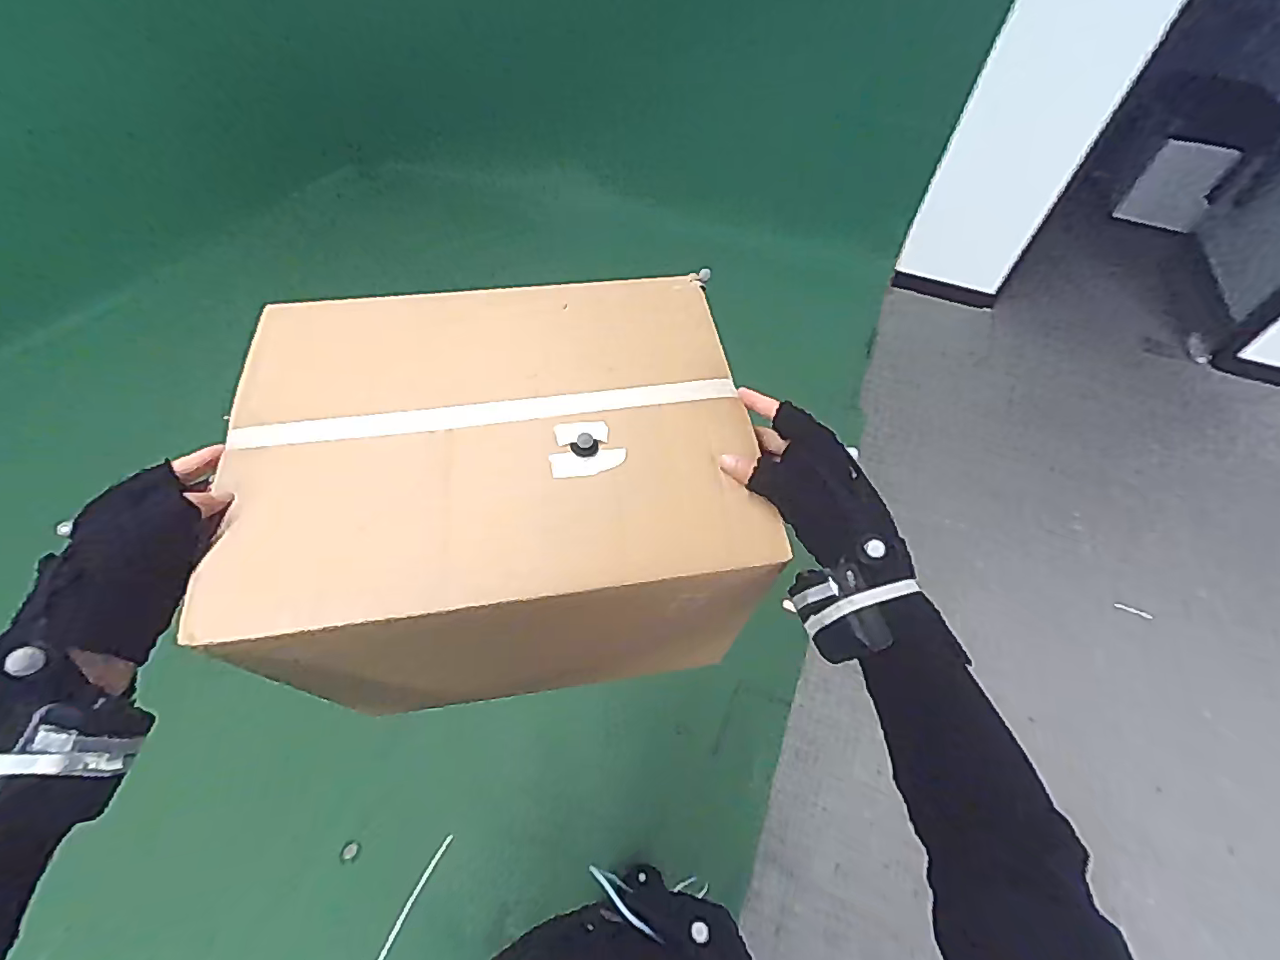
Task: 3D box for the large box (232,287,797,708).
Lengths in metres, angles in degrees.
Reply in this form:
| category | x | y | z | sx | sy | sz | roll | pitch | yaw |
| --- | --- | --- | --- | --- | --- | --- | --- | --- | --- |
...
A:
| category | x | y | z | sx | sy | sz | roll | pitch | yaw |
| --- | --- | --- | --- | --- | --- | --- | --- | --- | --- |
| large box | -0.109 | 0.027 | 0.581 | 0.408 | 0.320 | 0.320 | -6 | 60 | -8 |
